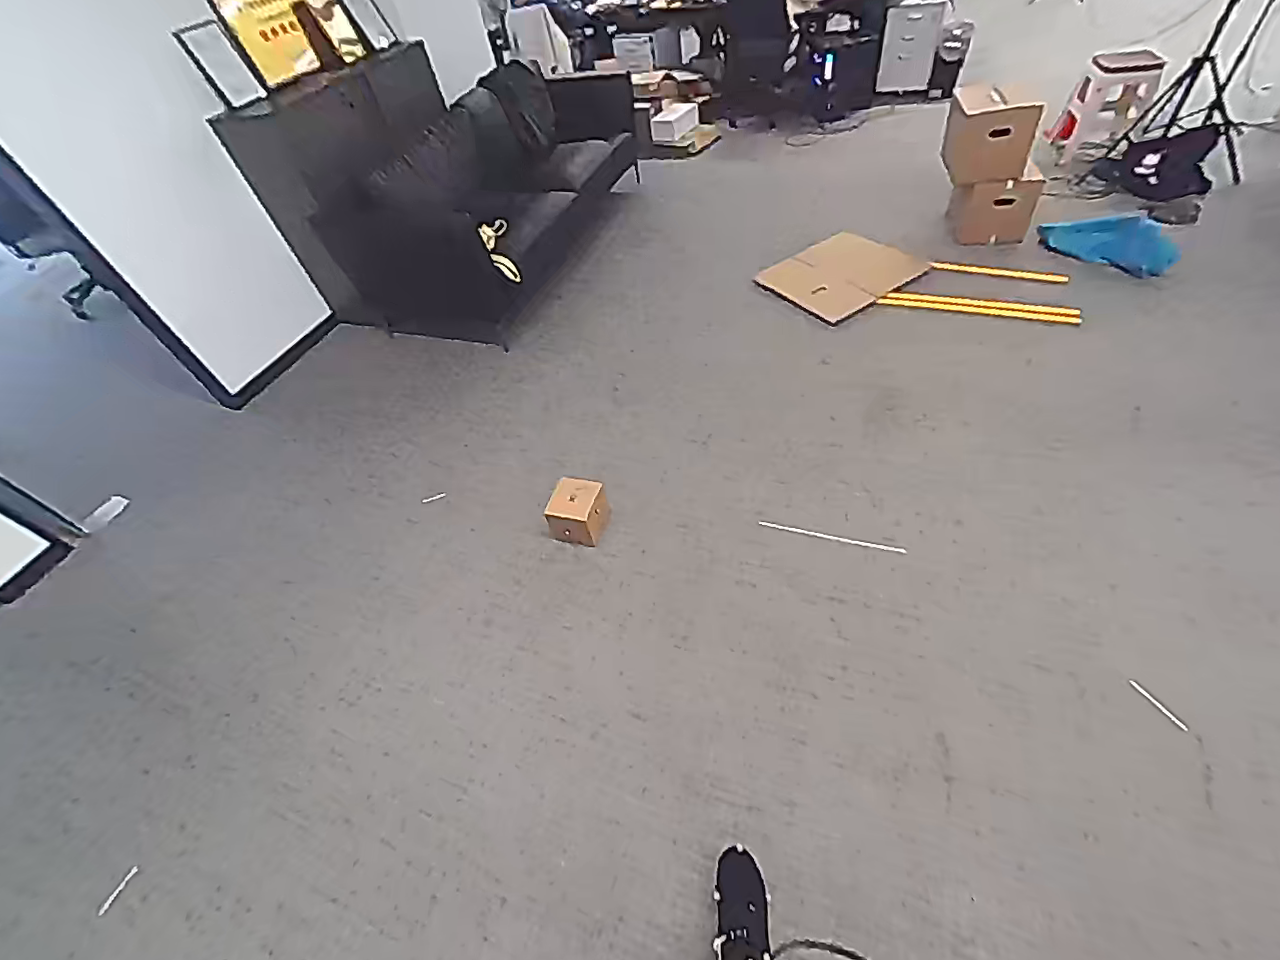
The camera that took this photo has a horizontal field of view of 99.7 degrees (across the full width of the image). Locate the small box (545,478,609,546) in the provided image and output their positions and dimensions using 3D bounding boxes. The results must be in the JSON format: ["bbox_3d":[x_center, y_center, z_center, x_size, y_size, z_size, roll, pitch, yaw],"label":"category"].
[{"bbox_3d":[-0.223,0.121,1.982,0.168,0.176,0.179,9,51,17],"label":"small box"}]
